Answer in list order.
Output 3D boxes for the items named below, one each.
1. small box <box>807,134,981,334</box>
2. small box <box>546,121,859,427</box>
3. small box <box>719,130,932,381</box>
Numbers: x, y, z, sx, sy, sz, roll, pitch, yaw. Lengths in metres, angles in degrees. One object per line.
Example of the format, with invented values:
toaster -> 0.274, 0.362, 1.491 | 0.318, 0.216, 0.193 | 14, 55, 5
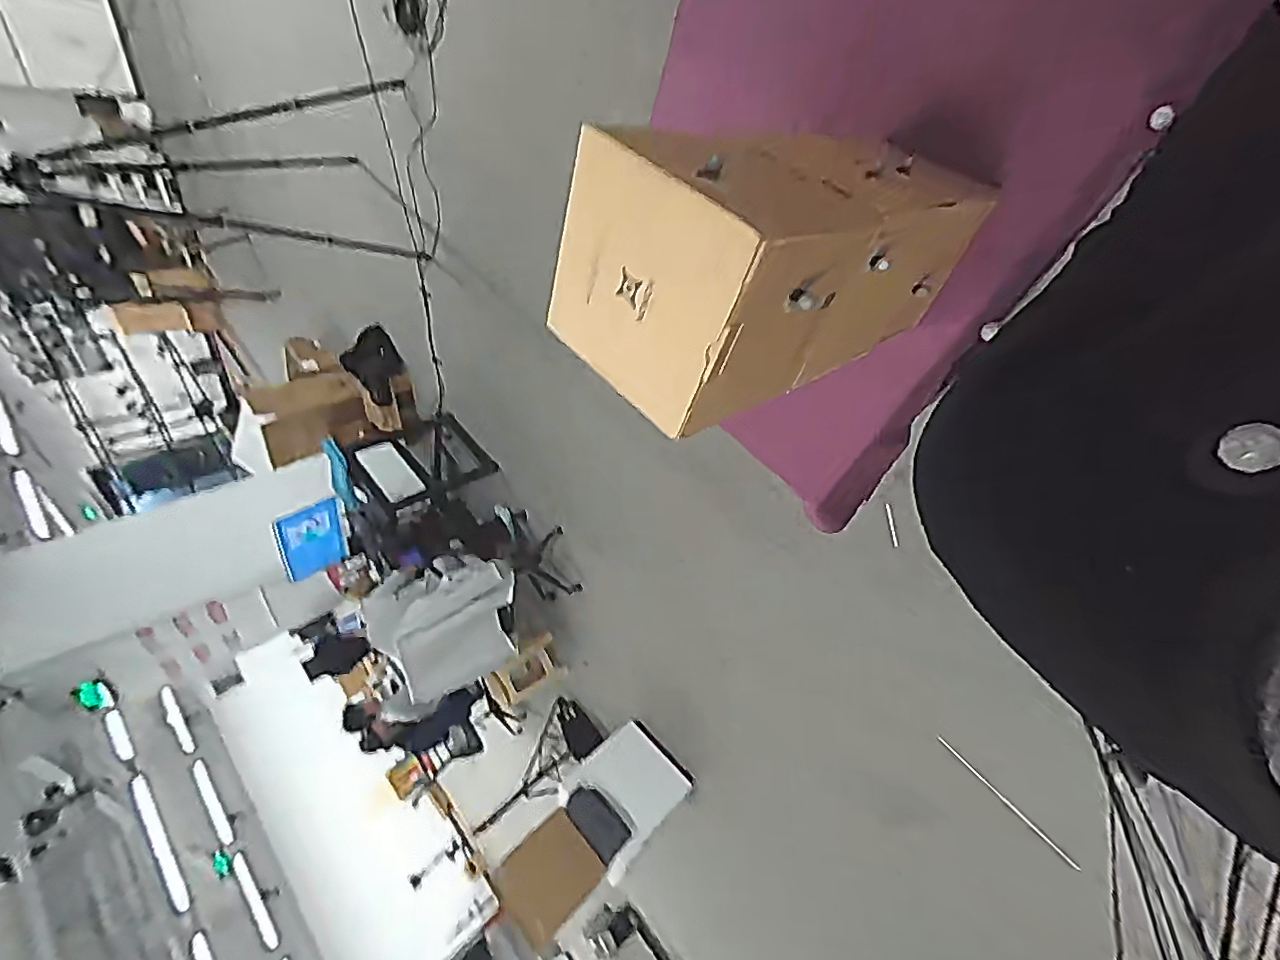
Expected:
small box -> 0.274, -0.297, 0.664 | 0.168, 0.176, 0.179 | 43, 138, 23
small box -> 0.048, -0.178, 0.462 | 0.179, 0.176, 0.168 | 46, 137, 22
small box -> 0.164, -0.234, 0.563 | 0.168, 0.176, 0.179 | 43, 137, 24
